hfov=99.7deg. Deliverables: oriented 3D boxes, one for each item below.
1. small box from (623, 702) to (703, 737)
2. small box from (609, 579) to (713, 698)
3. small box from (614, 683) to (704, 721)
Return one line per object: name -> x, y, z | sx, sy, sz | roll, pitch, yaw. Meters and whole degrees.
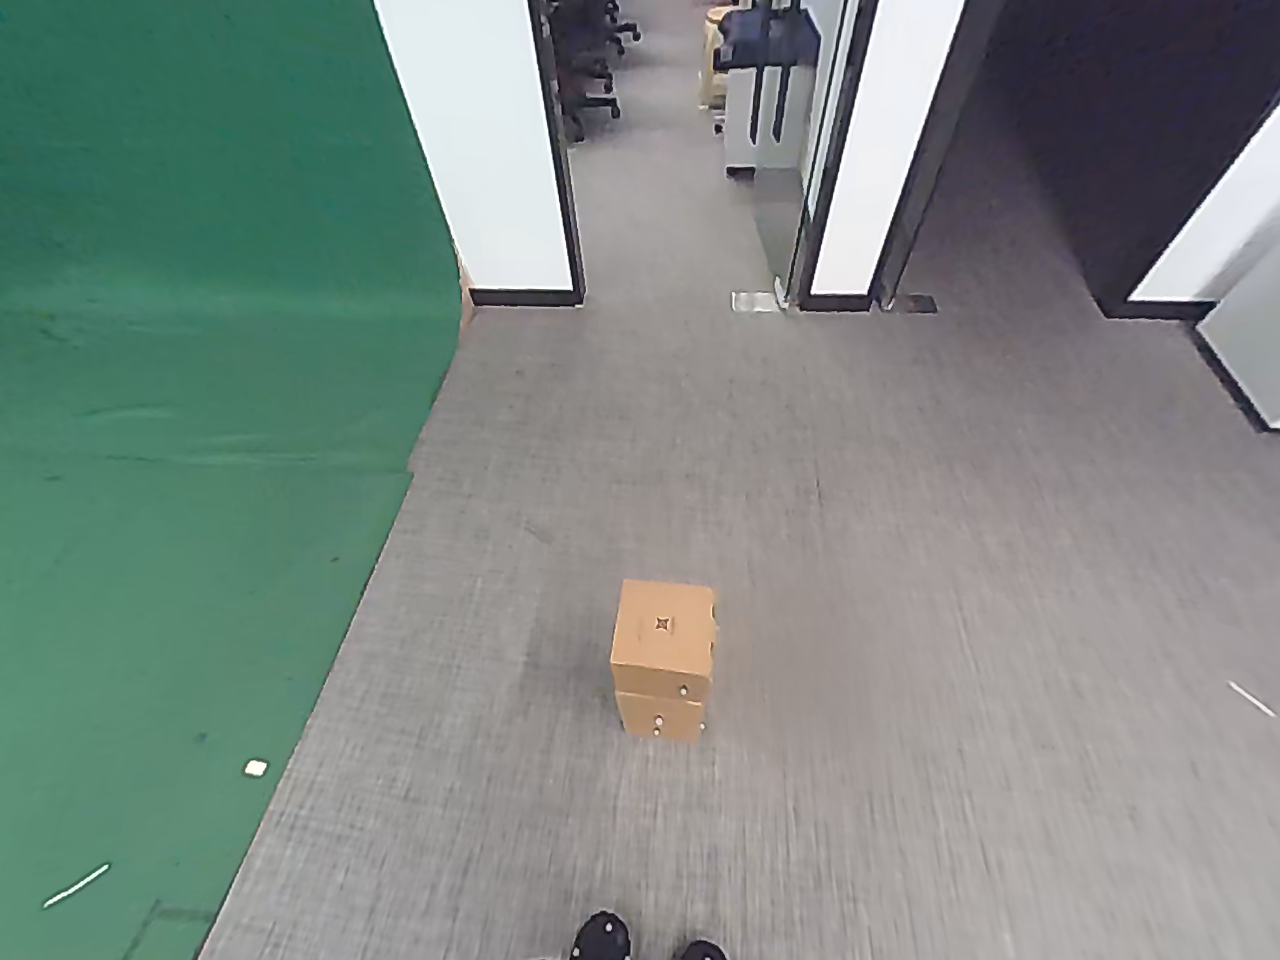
small box -> 0.058, 0.507, 1.293 | 0.179, 0.176, 0.168 | 3, 54, 4
small box -> 0.045, 0.307, 1.036 | 0.179, 0.176, 0.168 | 3, 52, 7
small box -> 0.049, 0.408, 1.164 | 0.179, 0.176, 0.168 | 6, 54, 7
